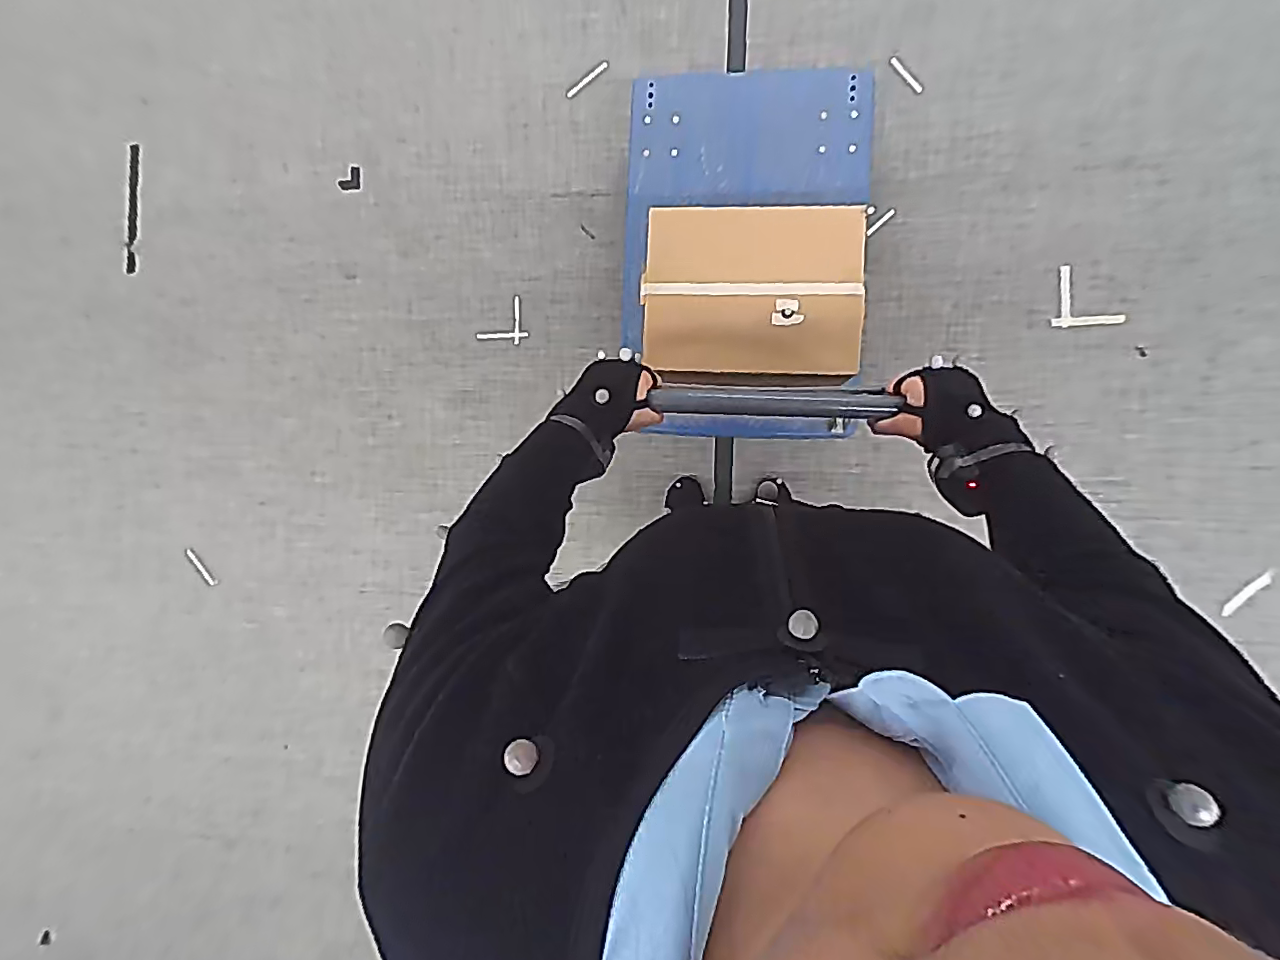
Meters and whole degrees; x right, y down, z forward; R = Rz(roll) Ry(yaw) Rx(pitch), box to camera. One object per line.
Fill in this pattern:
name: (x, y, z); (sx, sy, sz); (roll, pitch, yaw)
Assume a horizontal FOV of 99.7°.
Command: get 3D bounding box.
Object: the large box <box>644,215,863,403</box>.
large box: (0.222, -0.340, 1.161); (0.408, 0.320, 0.320); (2, 91, 6)
